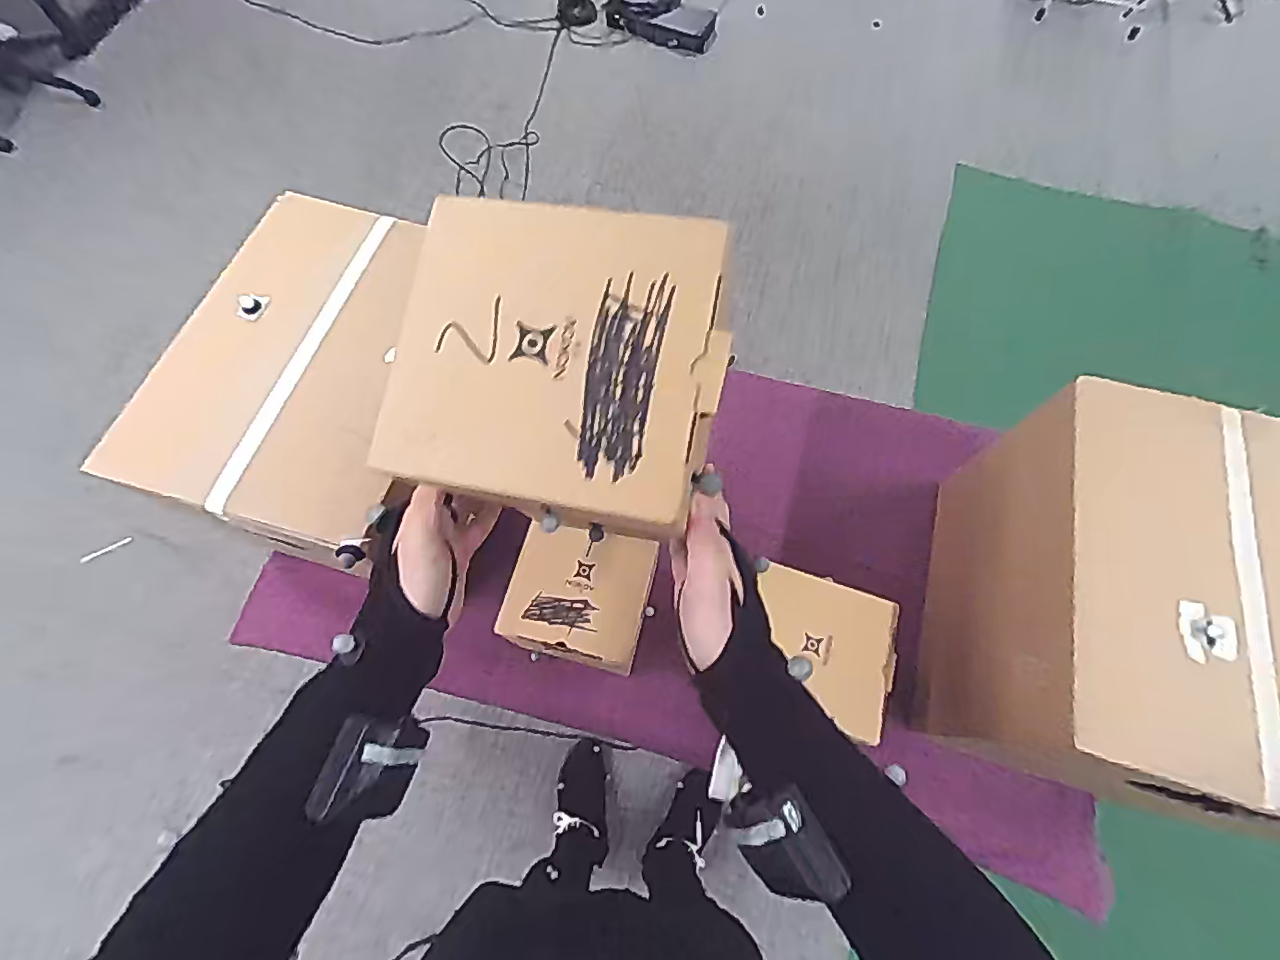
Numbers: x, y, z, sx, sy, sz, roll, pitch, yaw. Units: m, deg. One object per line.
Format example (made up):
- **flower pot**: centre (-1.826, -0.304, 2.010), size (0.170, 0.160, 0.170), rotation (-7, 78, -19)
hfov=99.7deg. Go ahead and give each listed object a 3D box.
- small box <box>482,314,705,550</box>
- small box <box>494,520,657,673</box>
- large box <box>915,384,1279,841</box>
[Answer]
- **small box**: centre (-0.032, -0.037, 0.539), size (0.168, 0.176, 0.179), rotation (9, 77, 8)
- **small box**: centre (-0.073, 0.150, 0.728), size (0.168, 0.176, 0.179), rotation (14, 67, 5)
- **large box**: centre (0.575, 0.160, 0.660), size (0.320, 0.320, 0.408), rotation (16, 69, 7)
